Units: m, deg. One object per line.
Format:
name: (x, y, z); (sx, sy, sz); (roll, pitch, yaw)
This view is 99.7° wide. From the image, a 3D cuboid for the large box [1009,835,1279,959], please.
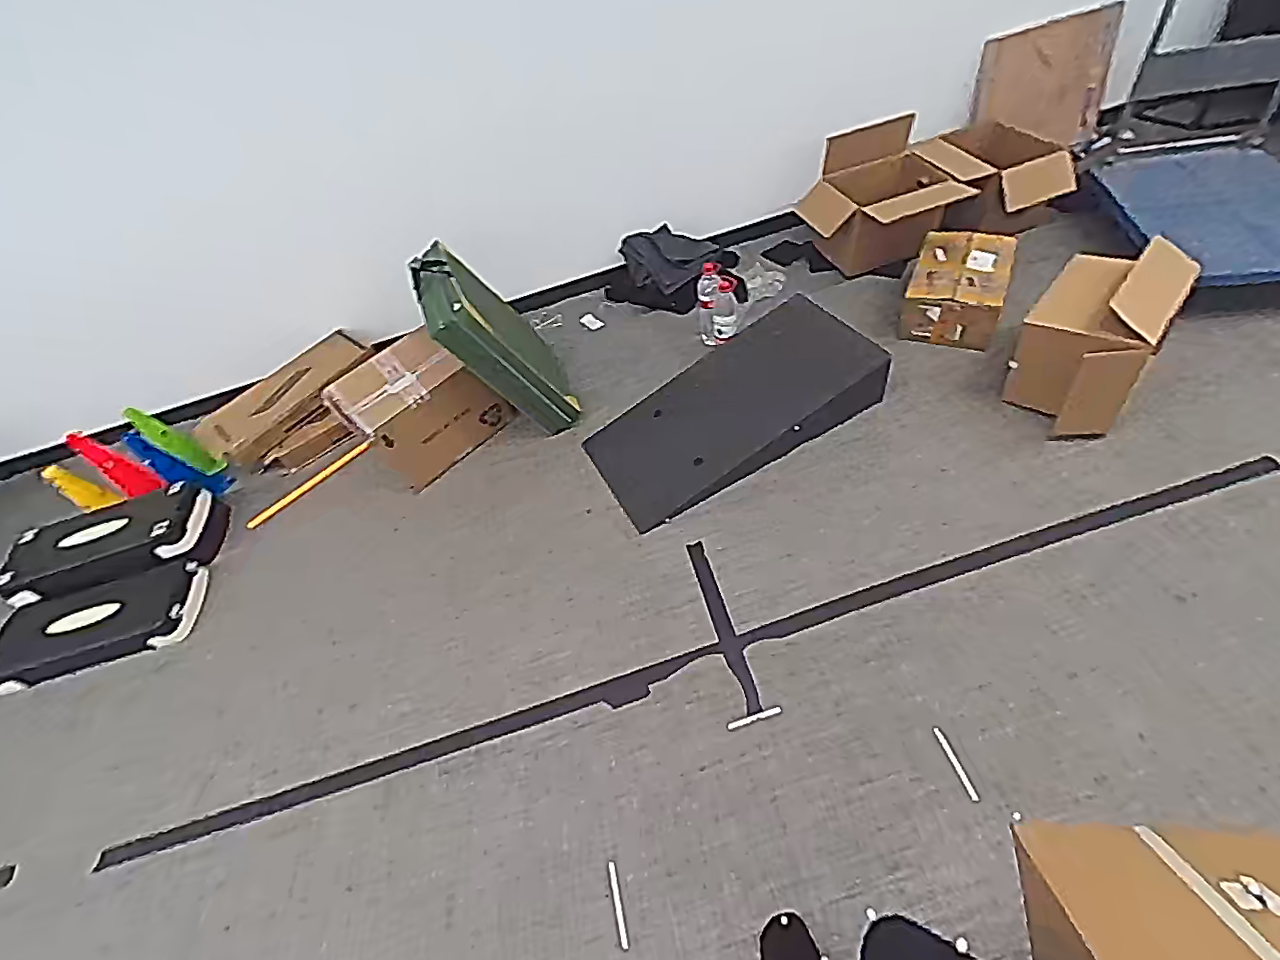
large box: (0.655, 0.648, 0.558); (0.320, 0.408, 0.320); (-6, 86, 16)
